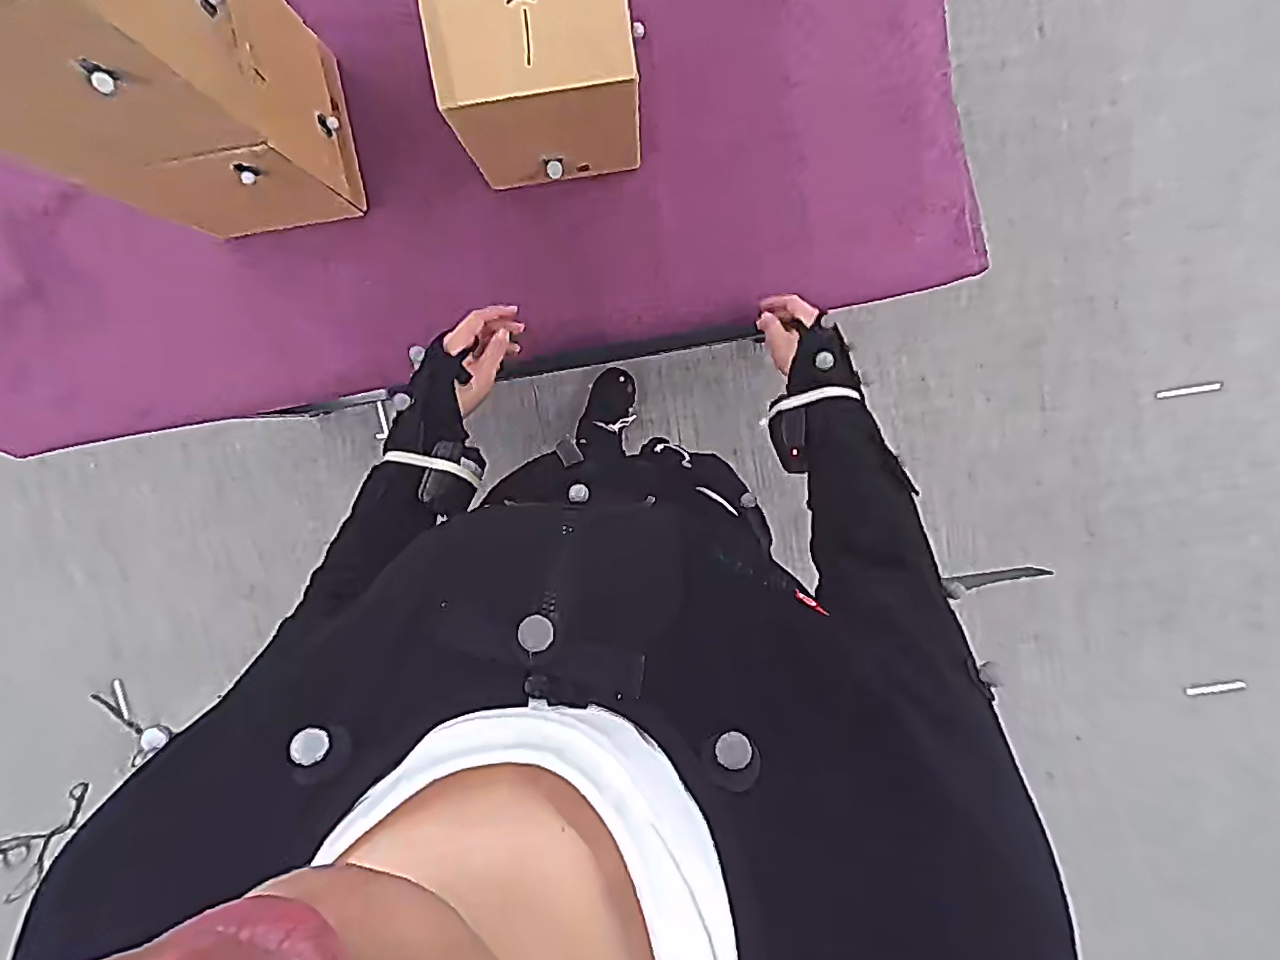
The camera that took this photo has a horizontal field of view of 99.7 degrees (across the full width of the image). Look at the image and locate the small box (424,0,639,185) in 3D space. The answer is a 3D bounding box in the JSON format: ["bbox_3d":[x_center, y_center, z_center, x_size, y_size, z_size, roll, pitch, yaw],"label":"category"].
[{"bbox_3d":[-0.092,-0.409,0.505,0.168,0.176,0.179,-7,98,1],"label":"small box"}]

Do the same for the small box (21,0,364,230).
[{"bbox_3d":[-0.402,-0.357,0.514,0.179,0.176,0.168,-9,97,1],"label":"small box"}]
